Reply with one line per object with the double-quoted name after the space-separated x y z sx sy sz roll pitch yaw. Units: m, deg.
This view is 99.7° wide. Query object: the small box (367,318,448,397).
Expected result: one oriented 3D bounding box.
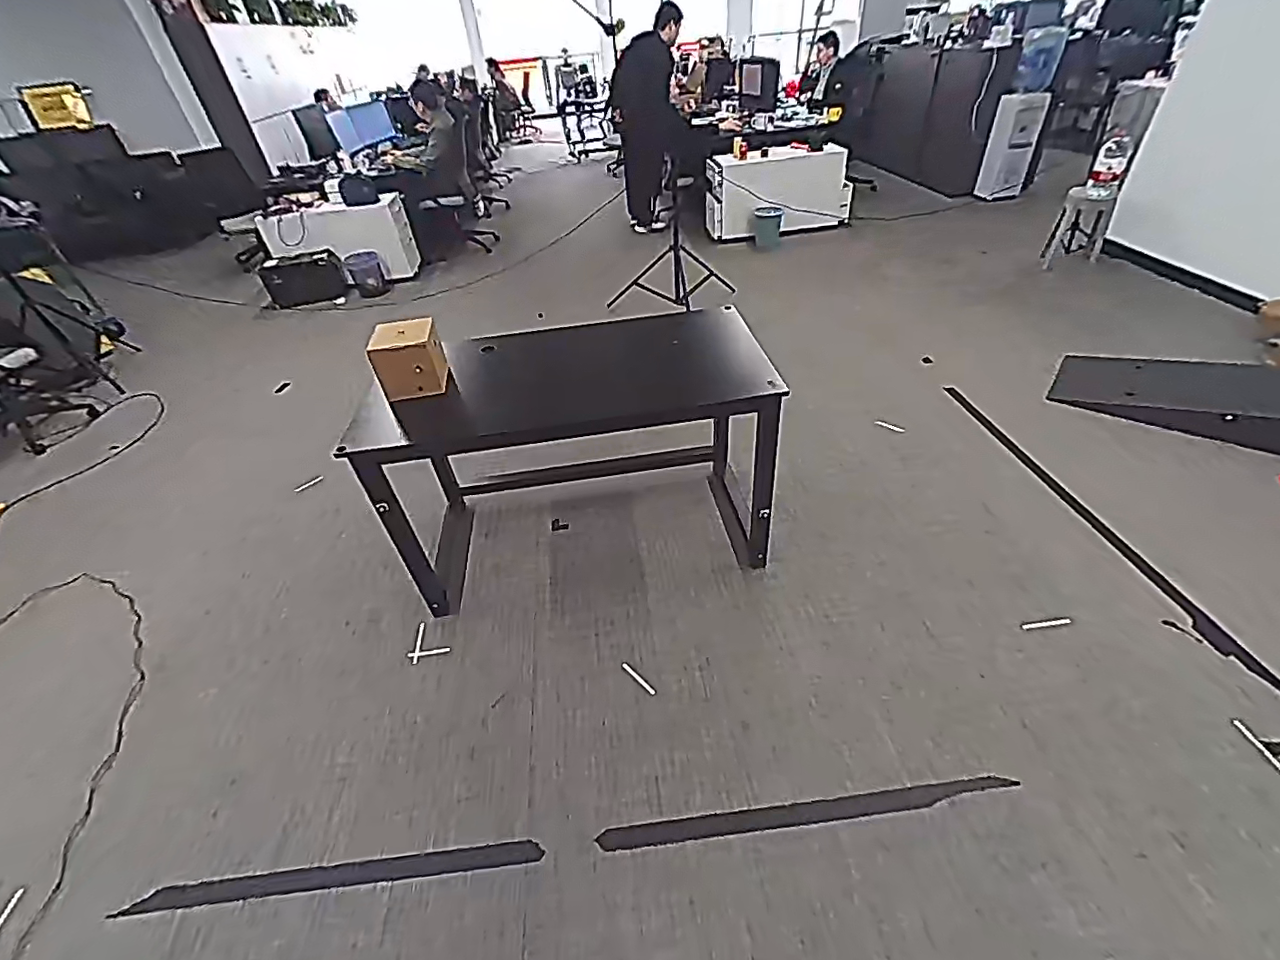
-0.675 -0.355 1.593 0.168 0.176 0.179 -9 39 -6 "small box"
